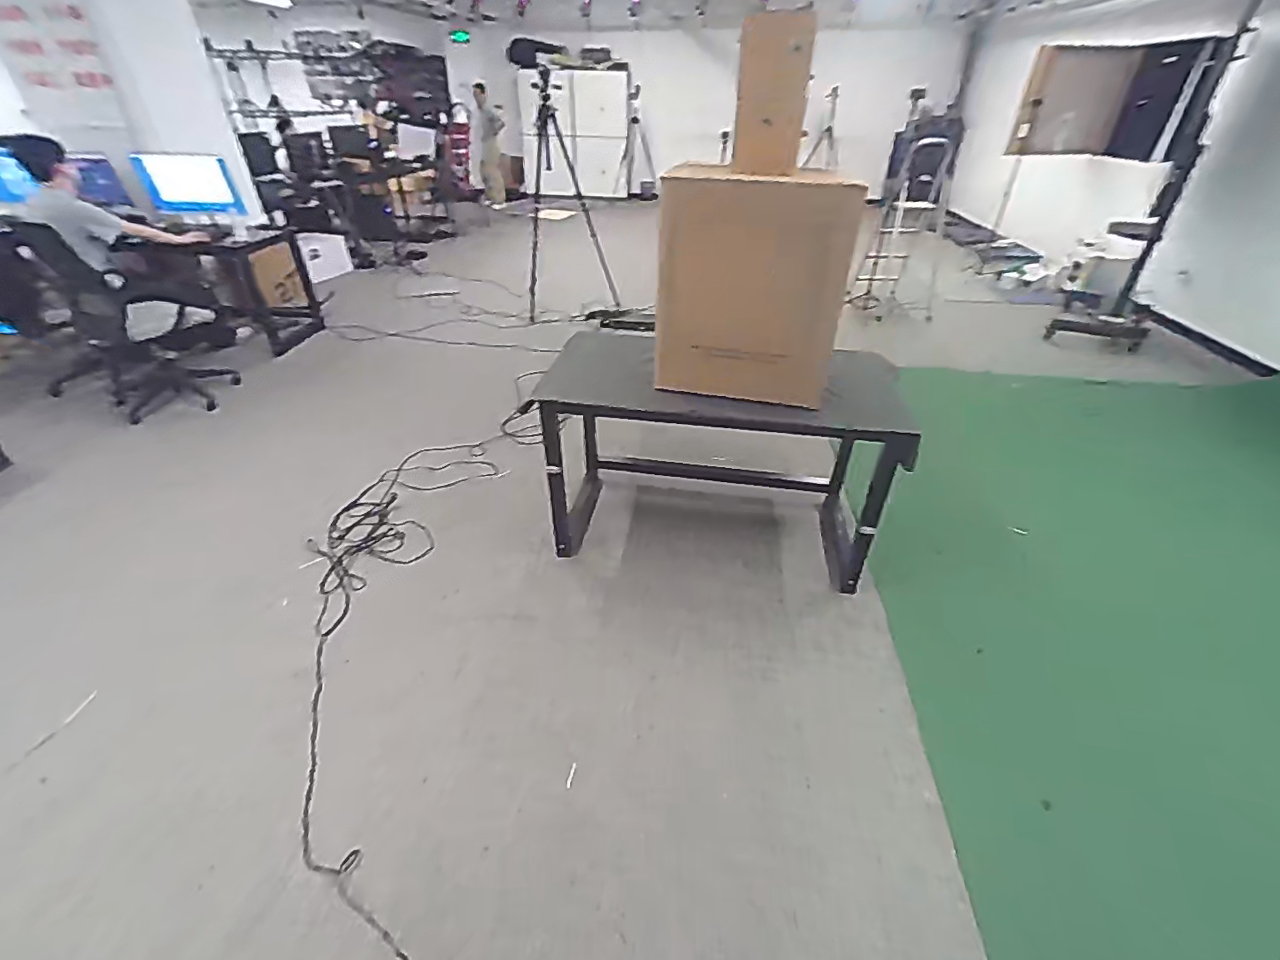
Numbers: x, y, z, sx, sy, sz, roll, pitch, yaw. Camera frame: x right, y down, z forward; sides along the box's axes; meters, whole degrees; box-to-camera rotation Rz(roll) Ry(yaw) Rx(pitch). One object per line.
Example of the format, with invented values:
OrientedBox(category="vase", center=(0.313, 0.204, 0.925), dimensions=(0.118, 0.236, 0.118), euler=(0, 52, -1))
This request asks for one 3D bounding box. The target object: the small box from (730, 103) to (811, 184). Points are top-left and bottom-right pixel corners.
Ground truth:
OrientedBox(category="small box", center=(0.346, -0.894, 1.438), dimensions=(0.179, 0.176, 0.168), euler=(10, 38, 13))
